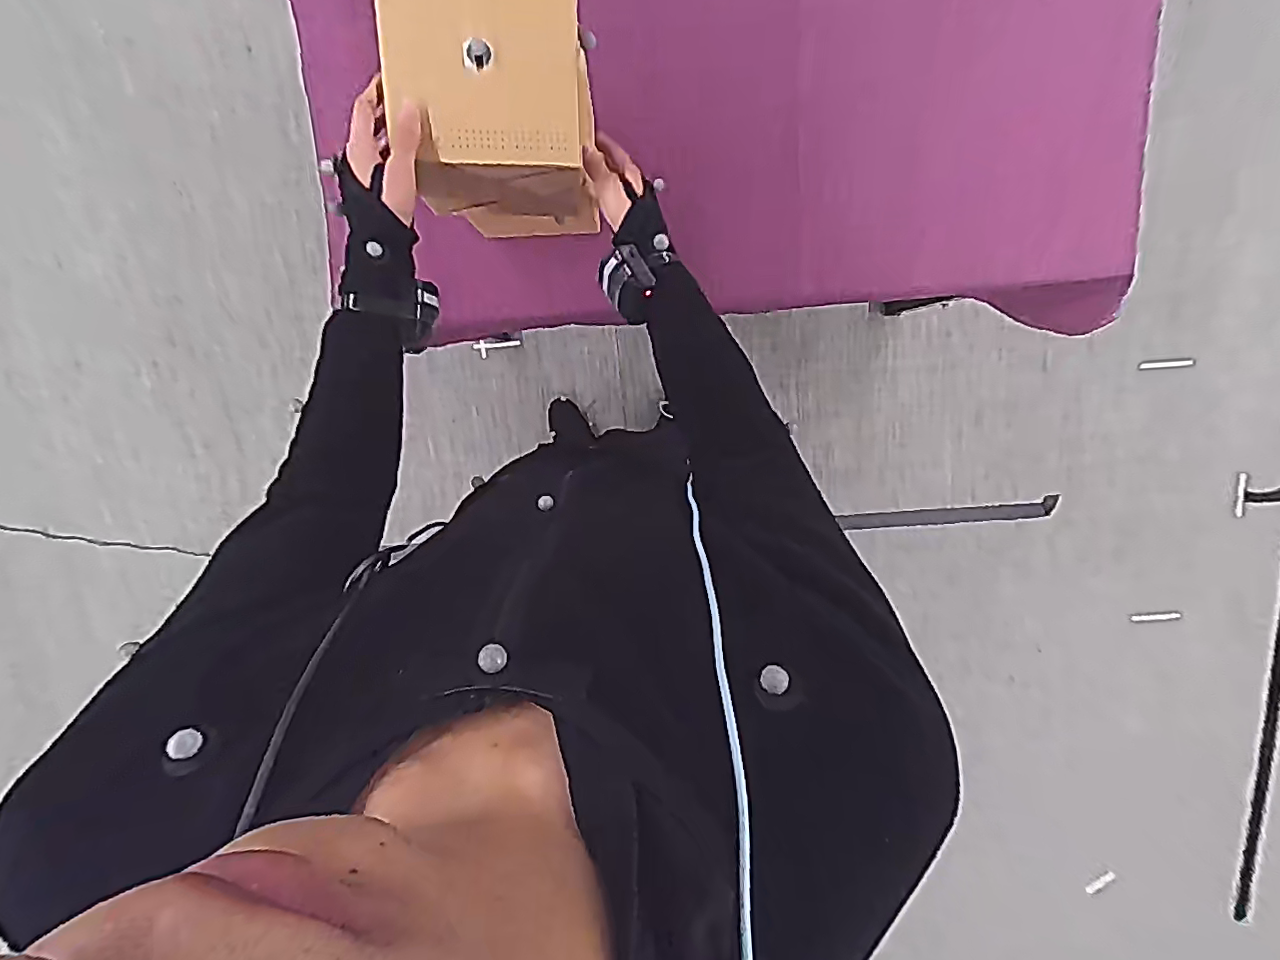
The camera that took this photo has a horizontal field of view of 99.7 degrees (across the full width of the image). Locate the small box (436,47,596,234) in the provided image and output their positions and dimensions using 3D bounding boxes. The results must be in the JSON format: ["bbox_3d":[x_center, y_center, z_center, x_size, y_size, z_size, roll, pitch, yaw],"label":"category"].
[{"bbox_3d":[-0.150,-0.436,0.721,0.179,0.176,0.168,-2,101,0],"label":"small box"}]

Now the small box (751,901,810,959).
[{"bbox_3d":[0.484,1.607,1.880,0.168,0.176,0.179,-3,102,-1],"label":"small box"}]
